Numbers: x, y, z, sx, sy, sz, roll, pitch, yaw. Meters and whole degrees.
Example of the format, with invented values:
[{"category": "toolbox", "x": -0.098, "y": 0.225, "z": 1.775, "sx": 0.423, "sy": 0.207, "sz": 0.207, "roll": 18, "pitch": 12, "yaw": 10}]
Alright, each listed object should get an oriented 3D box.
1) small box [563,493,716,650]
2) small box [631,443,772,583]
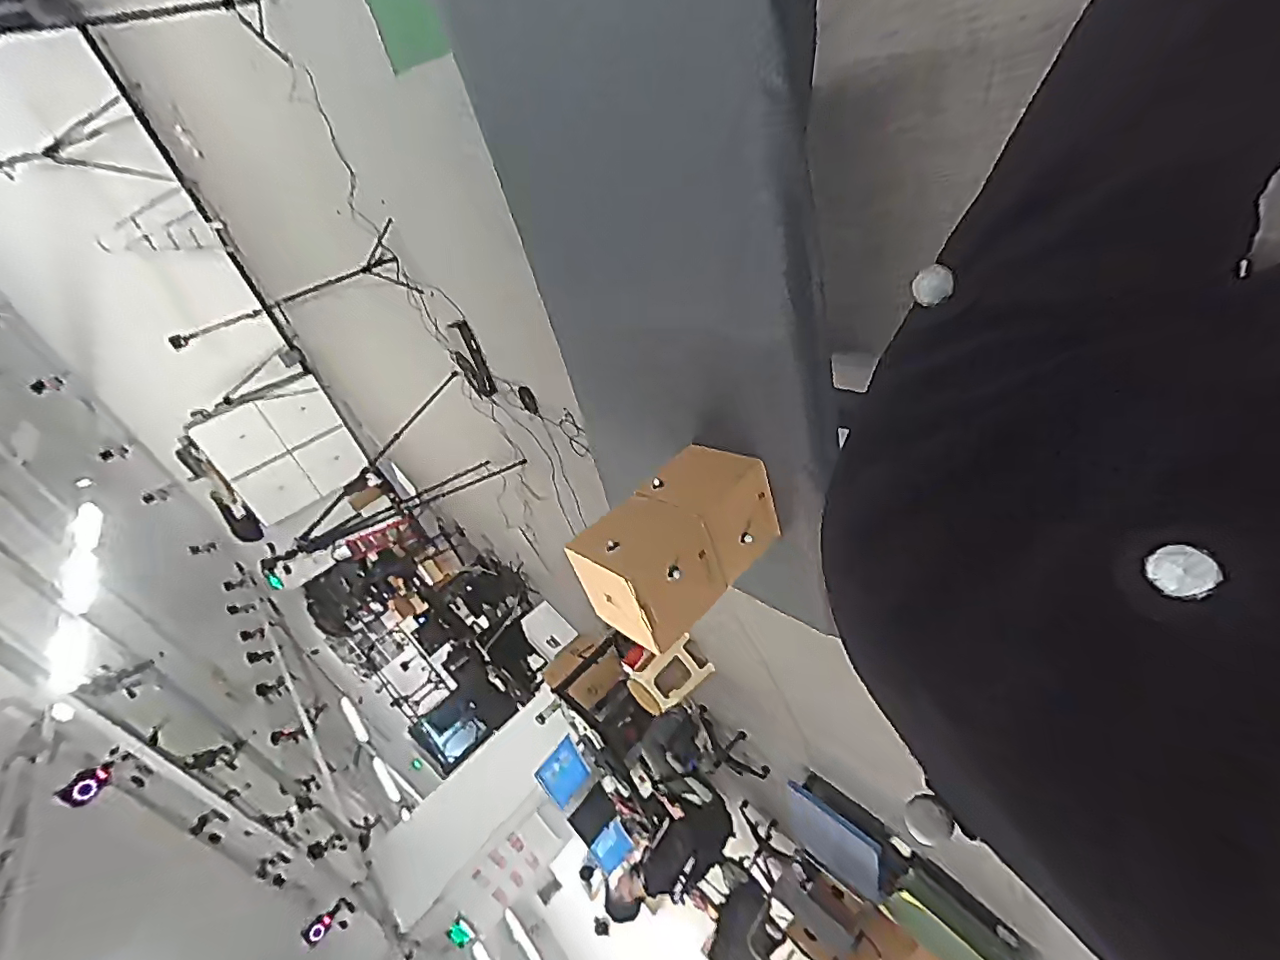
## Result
[{"category": "small box", "x": 0.008, "y": 0.141, "z": 0.901, "sx": 0.179, "sy": 0.176, "sz": 0.168, "roll": 17, "pitch": 136, "yaw": 49}, {"category": "small box", "x": 0.119, "y": 0.050, "z": 0.977, "sx": 0.179, "sy": 0.176, "sz": 0.168, "roll": 17, "pitch": 137, "yaw": 48}]
